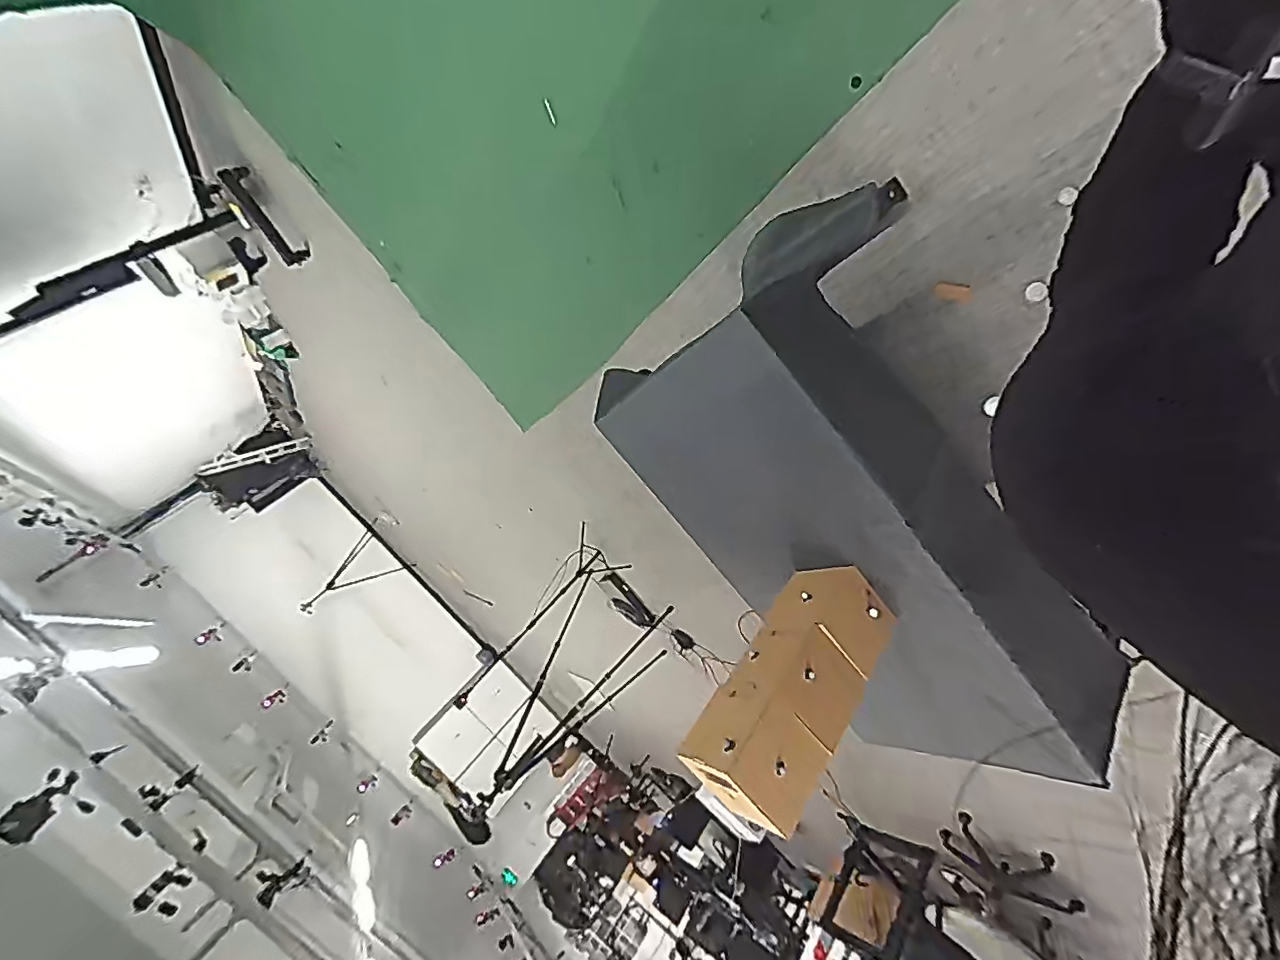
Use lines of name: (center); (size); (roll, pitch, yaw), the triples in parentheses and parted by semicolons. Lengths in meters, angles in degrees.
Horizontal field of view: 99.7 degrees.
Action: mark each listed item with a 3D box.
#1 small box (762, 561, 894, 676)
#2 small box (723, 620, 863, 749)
small box: (0.407, 0.295, 1.168); (0.168, 0.176, 0.179); (50, 149, -10)
small box: (0.309, 0.399, 1.089); (0.179, 0.176, 0.168); (49, 150, -7)
